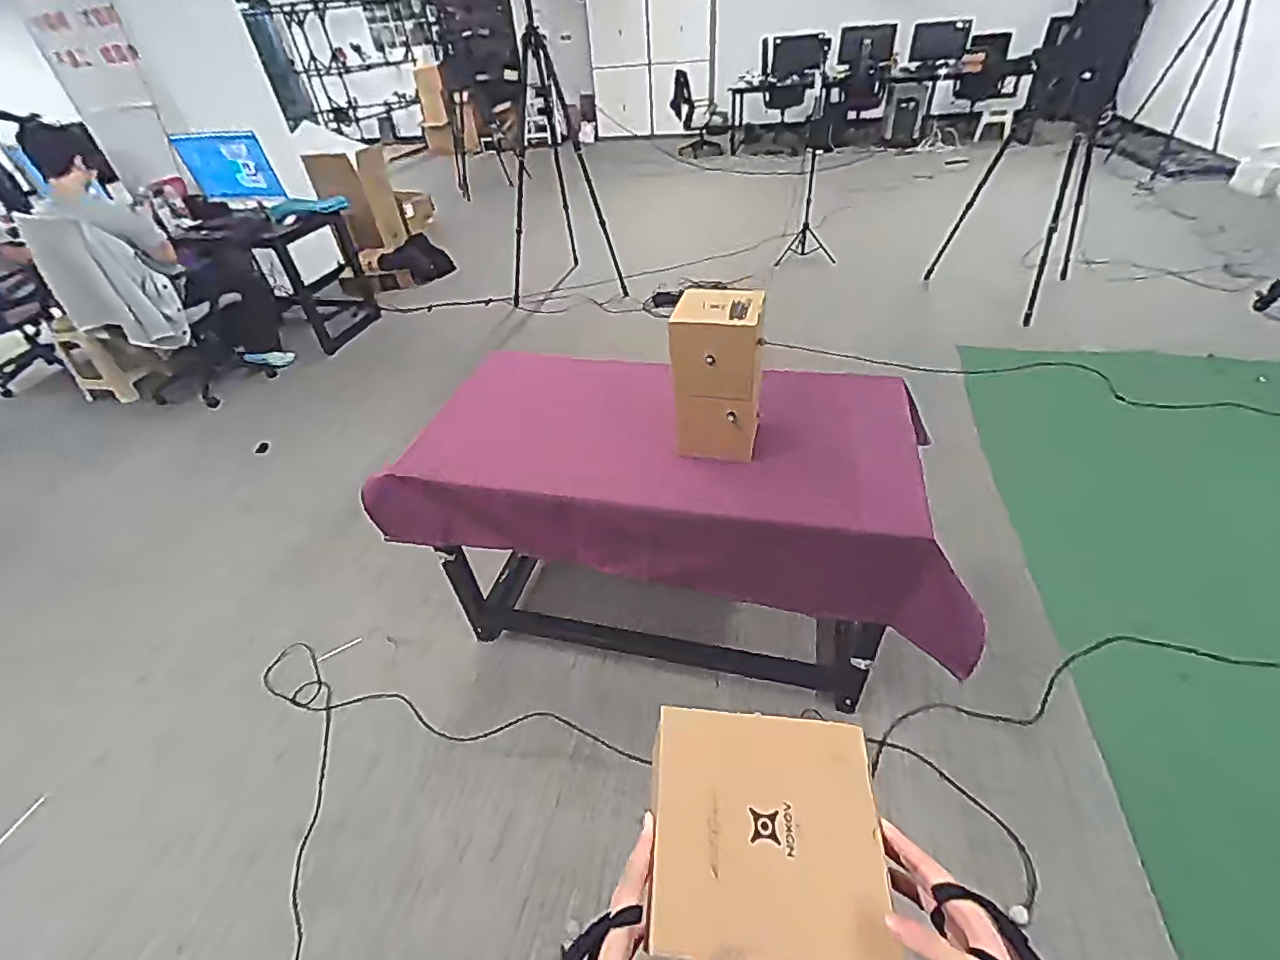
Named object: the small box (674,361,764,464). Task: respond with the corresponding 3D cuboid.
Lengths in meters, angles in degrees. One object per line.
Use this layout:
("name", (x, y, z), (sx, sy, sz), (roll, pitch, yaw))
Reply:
("small box", (0.185, -0.155, 1.252), (0.179, 0.176, 0.168), (7, 42, 15))

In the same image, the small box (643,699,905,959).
("small box", (0.098, 0.313, 0.478), (0.179, 0.176, 0.168), (5, 49, 2))
